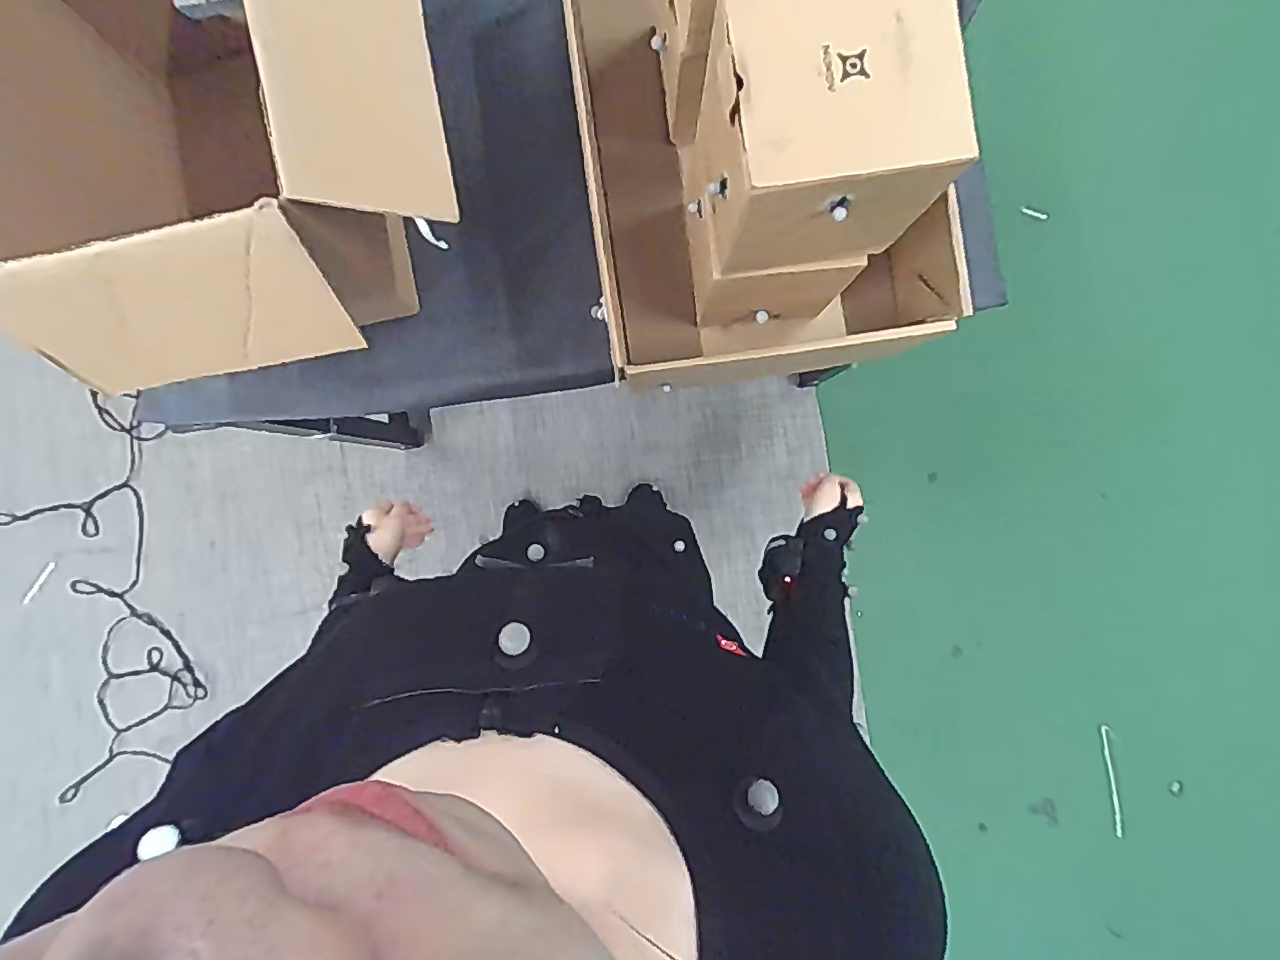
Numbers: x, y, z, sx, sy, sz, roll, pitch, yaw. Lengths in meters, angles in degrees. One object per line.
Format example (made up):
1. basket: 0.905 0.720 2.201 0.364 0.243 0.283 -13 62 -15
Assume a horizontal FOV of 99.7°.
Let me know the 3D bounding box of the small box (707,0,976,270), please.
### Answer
1. small box: 0.159 -0.307 0.489 0.179 0.176 0.168 -8 90 0

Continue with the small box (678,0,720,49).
1. small box: 0.119 -0.538 0.491 0.179 0.176 0.168 -9 92 -1
